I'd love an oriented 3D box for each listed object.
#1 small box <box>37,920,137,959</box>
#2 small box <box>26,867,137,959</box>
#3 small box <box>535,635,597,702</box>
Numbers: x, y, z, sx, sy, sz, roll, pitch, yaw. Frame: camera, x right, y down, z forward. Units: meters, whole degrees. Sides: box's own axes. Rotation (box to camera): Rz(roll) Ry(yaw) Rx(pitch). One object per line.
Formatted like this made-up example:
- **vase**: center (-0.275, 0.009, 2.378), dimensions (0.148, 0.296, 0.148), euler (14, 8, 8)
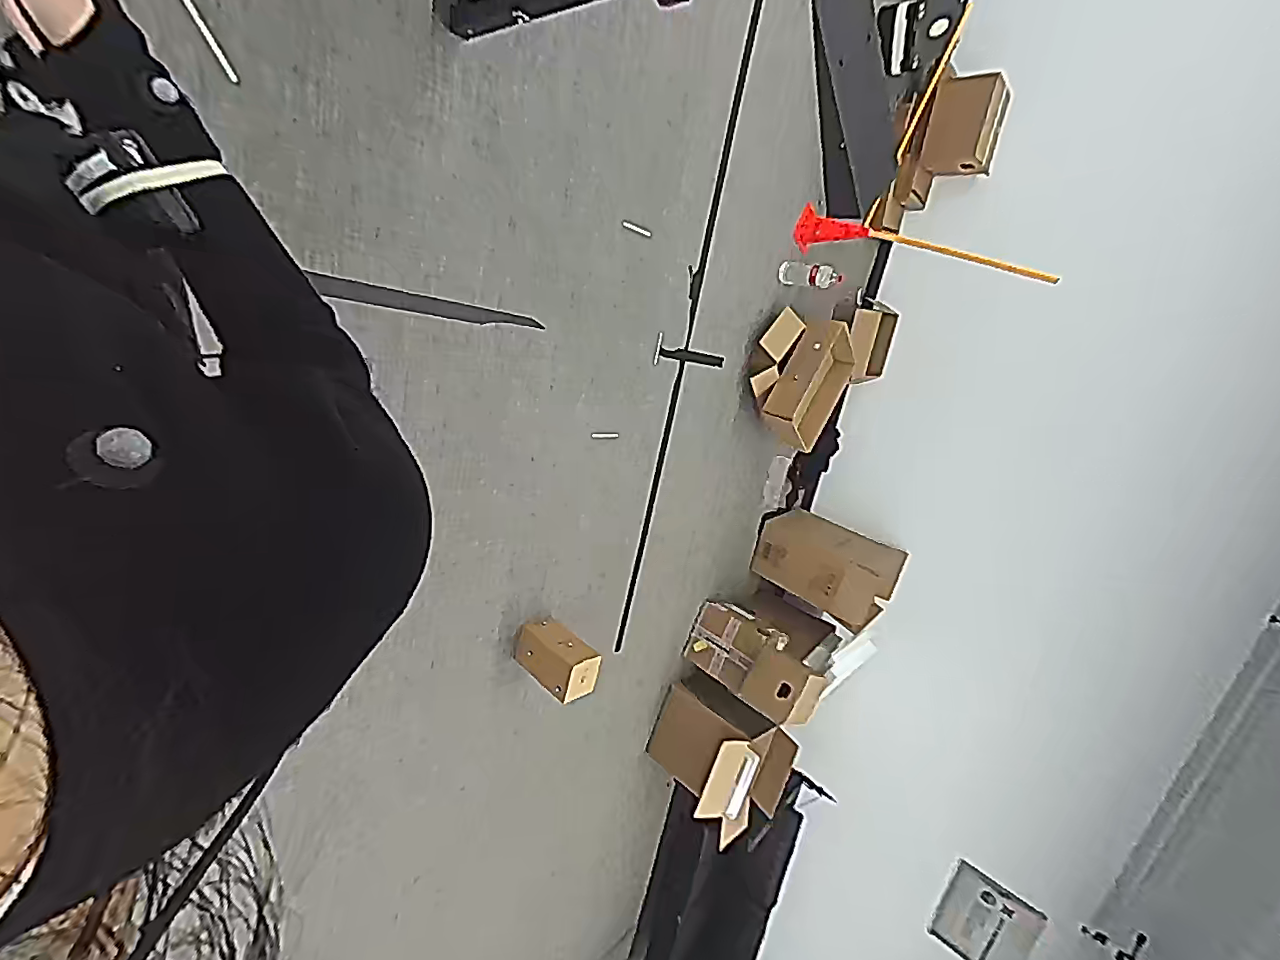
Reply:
- **small box**: center (-1.270, 1.172, 1.242), dimensions (0.168, 0.176, 0.179), euler (-11, 119, -48)
- **small box**: center (-1.387, 1.117, 1.344), dimensions (0.168, 0.176, 0.179), euler (-12, 120, -47)
- **small box**: center (-0.308, 0.763, 2.205), dimensions (0.168, 0.176, 0.179), euler (-2, 110, -52)
